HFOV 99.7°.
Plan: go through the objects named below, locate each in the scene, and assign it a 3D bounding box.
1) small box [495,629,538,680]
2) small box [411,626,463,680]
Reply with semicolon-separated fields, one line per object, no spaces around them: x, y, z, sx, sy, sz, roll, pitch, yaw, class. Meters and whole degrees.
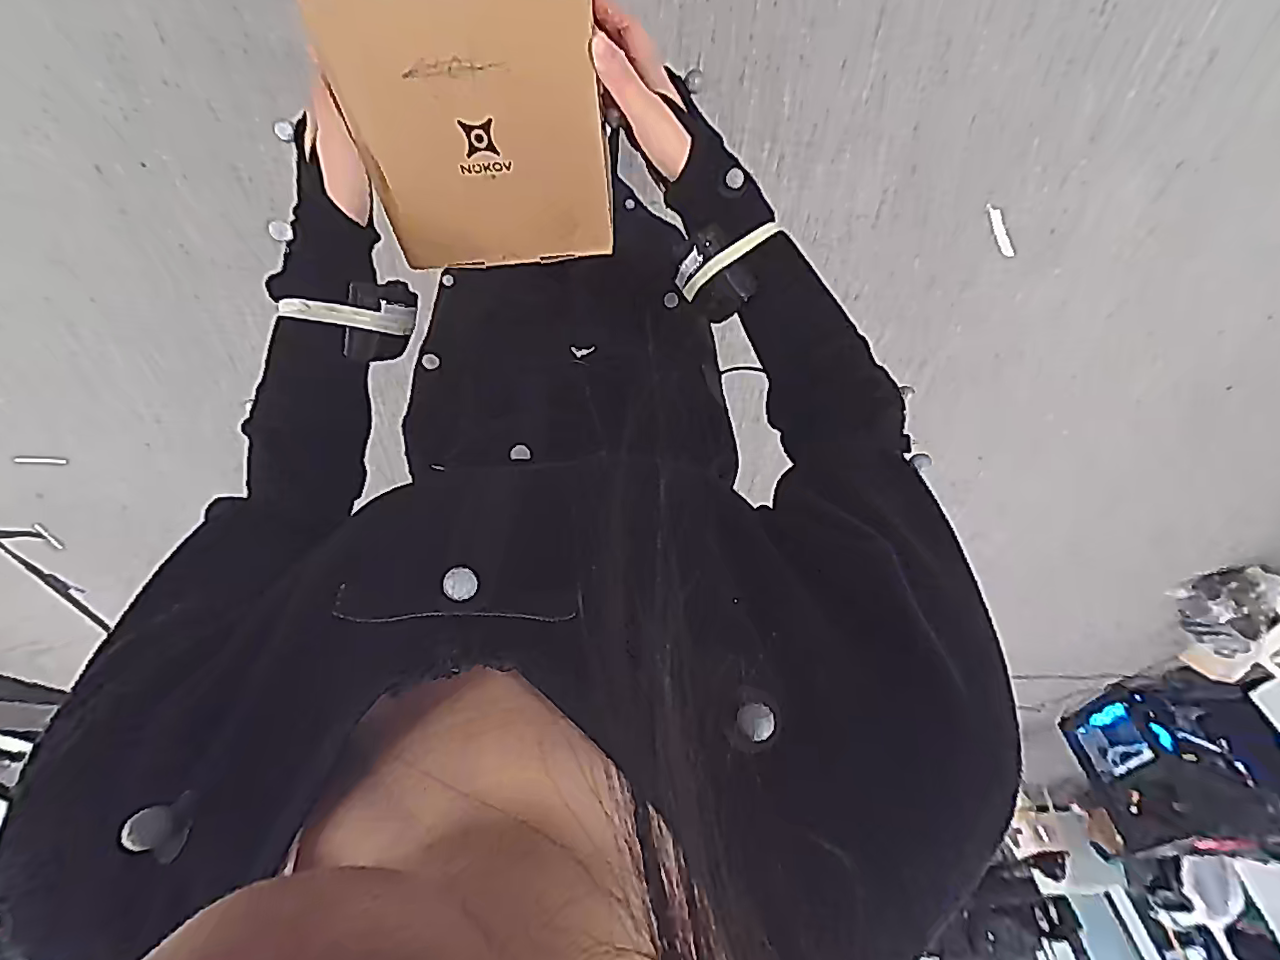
-0.564;0.803;2.486;0.168;0.176;0.179;1;134;-4;small box
-0.918;0.780;2.448;0.179;0.176;0.168;13;132;-17;small box
